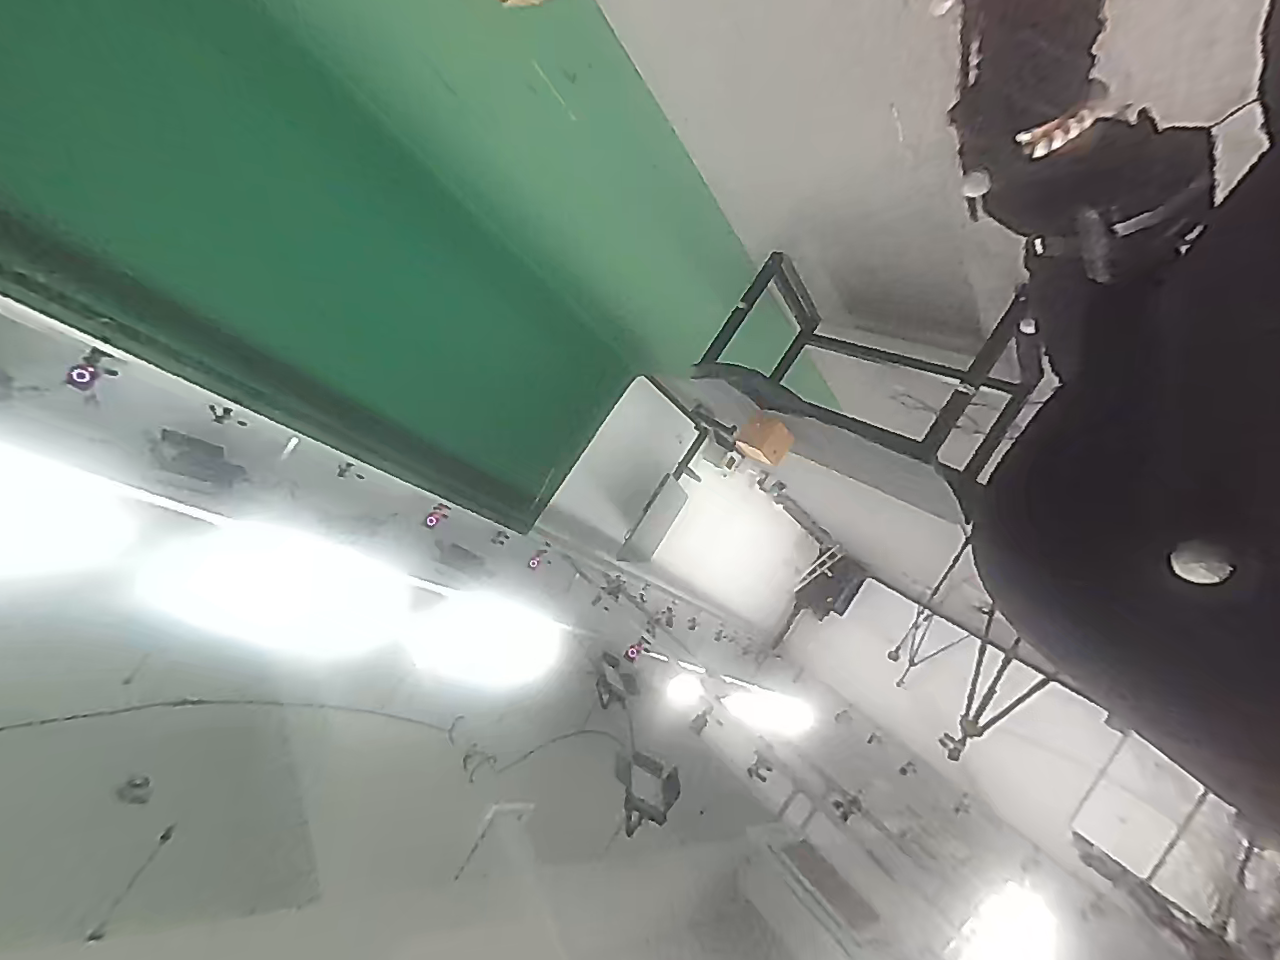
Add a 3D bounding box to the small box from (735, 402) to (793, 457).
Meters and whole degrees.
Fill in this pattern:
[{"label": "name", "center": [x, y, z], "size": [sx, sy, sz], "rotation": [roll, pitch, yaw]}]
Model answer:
[{"label": "small box", "center": [0.584, -0.238, 2.528], "size": [0.179, 0.176, 0.168], "rotation": [34, 178, -44]}]
